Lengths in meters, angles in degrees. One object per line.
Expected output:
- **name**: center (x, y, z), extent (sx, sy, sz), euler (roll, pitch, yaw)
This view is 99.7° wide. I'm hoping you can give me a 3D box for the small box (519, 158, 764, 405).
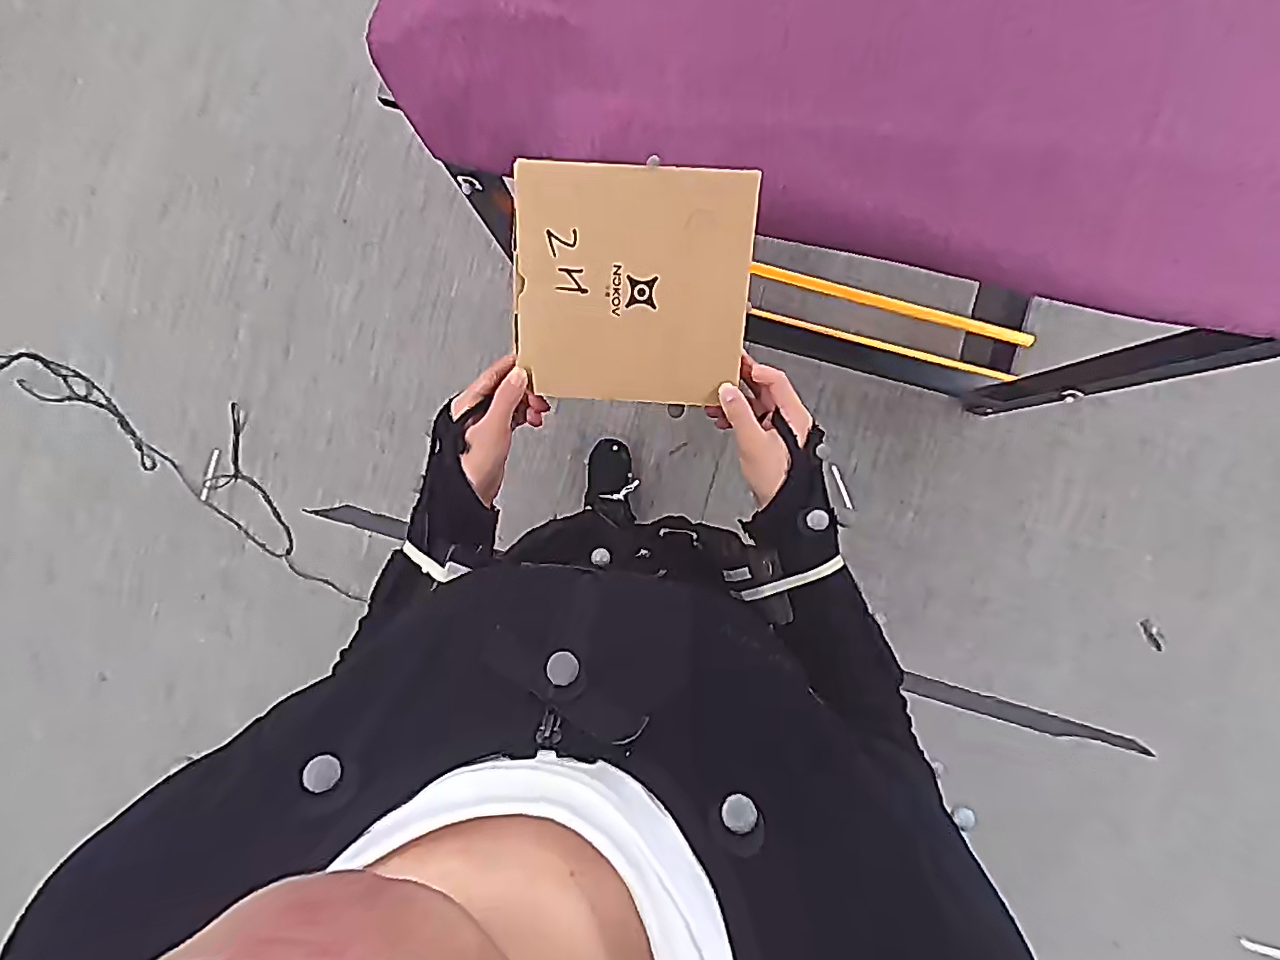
- **small box**: center (-0.001, -0.166, 0.478), extent (0.179, 0.176, 0.168), euler (4, 106, 2)
